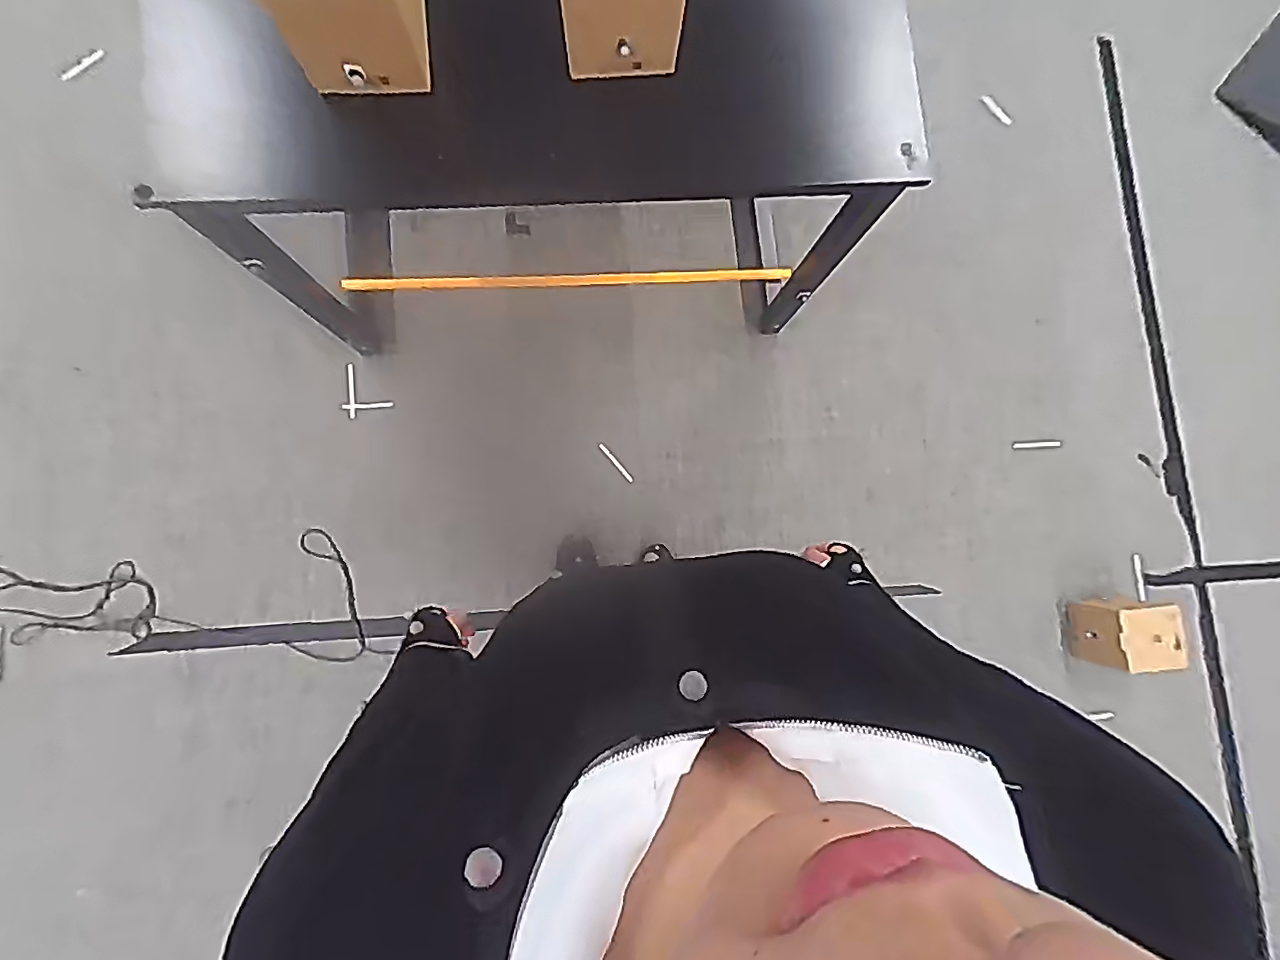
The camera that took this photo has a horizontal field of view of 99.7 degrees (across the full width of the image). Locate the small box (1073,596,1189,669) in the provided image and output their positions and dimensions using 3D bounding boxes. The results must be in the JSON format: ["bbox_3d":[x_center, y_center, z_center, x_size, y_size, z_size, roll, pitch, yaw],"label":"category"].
[{"bbox_3d":[1.350,0.418,1.503,0.179,0.176,0.168,-4,85,-4],"label":"small box"}]

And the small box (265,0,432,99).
[{"bbox_3d":[-0.403,-0.677,0.753,0.168,0.176,0.179,-6,85,-4],"label":"small box"}]

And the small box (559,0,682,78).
[{"bbox_3d":[-0.035,-0.732,0.783,0.168,0.176,0.179,-7,85,-4],"label":"small box"}]
